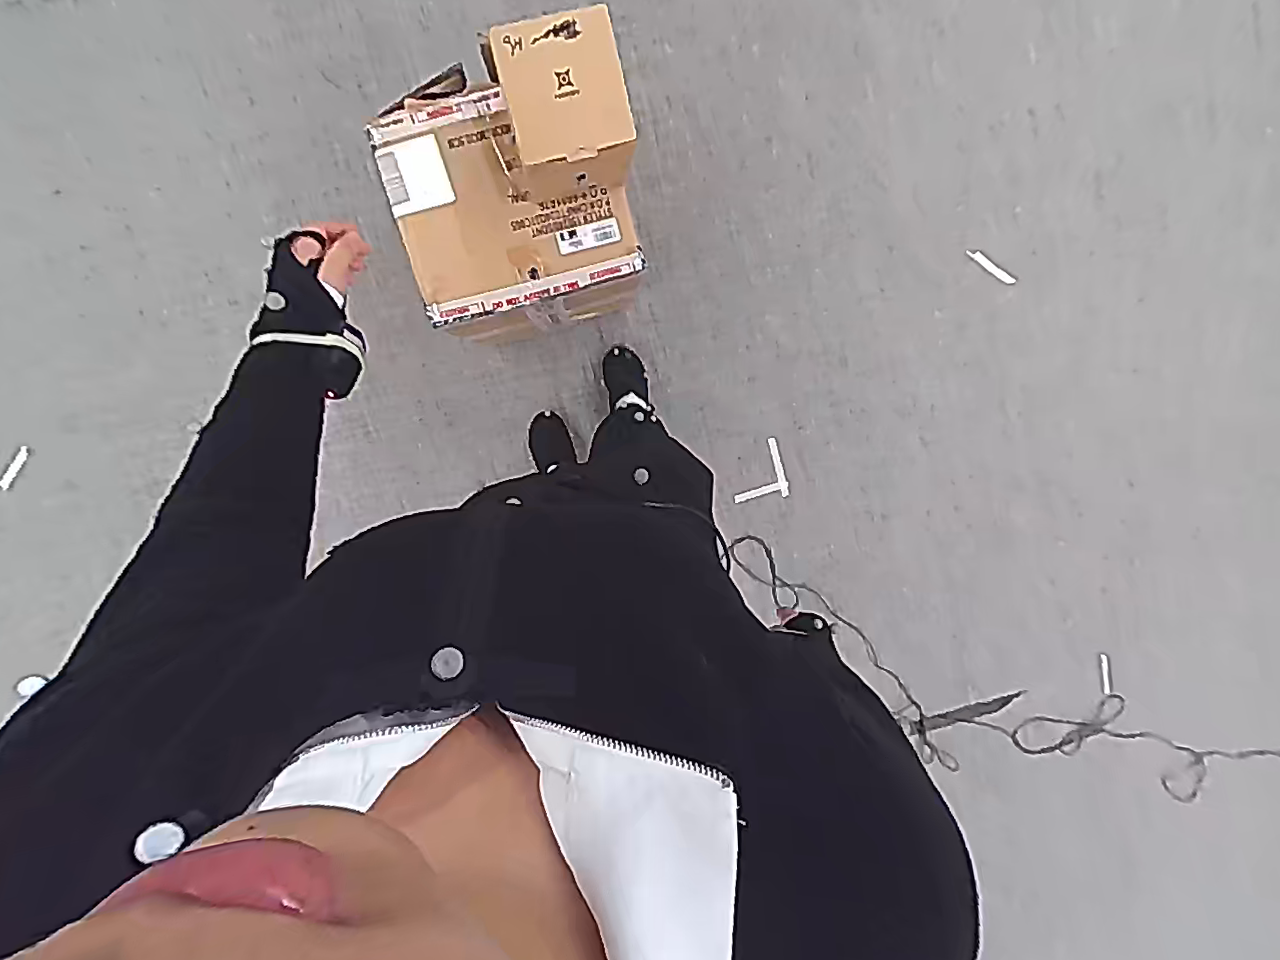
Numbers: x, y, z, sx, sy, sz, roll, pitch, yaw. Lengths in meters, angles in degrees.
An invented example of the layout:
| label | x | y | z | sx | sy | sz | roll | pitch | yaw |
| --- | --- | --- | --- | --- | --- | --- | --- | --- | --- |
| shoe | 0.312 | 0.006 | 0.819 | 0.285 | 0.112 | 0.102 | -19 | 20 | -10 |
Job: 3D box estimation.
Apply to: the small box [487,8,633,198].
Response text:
| label | x | y | z | sx | sy | sz | roll | pitch | yaw |
| --- | --- | --- | --- | --- | --- | --- | --- | --- | --- |
| small box | -0.114 | -0.546 | 0.814 | 0.168 | 0.176 | 0.179 | -16 | 103 | -4 |
